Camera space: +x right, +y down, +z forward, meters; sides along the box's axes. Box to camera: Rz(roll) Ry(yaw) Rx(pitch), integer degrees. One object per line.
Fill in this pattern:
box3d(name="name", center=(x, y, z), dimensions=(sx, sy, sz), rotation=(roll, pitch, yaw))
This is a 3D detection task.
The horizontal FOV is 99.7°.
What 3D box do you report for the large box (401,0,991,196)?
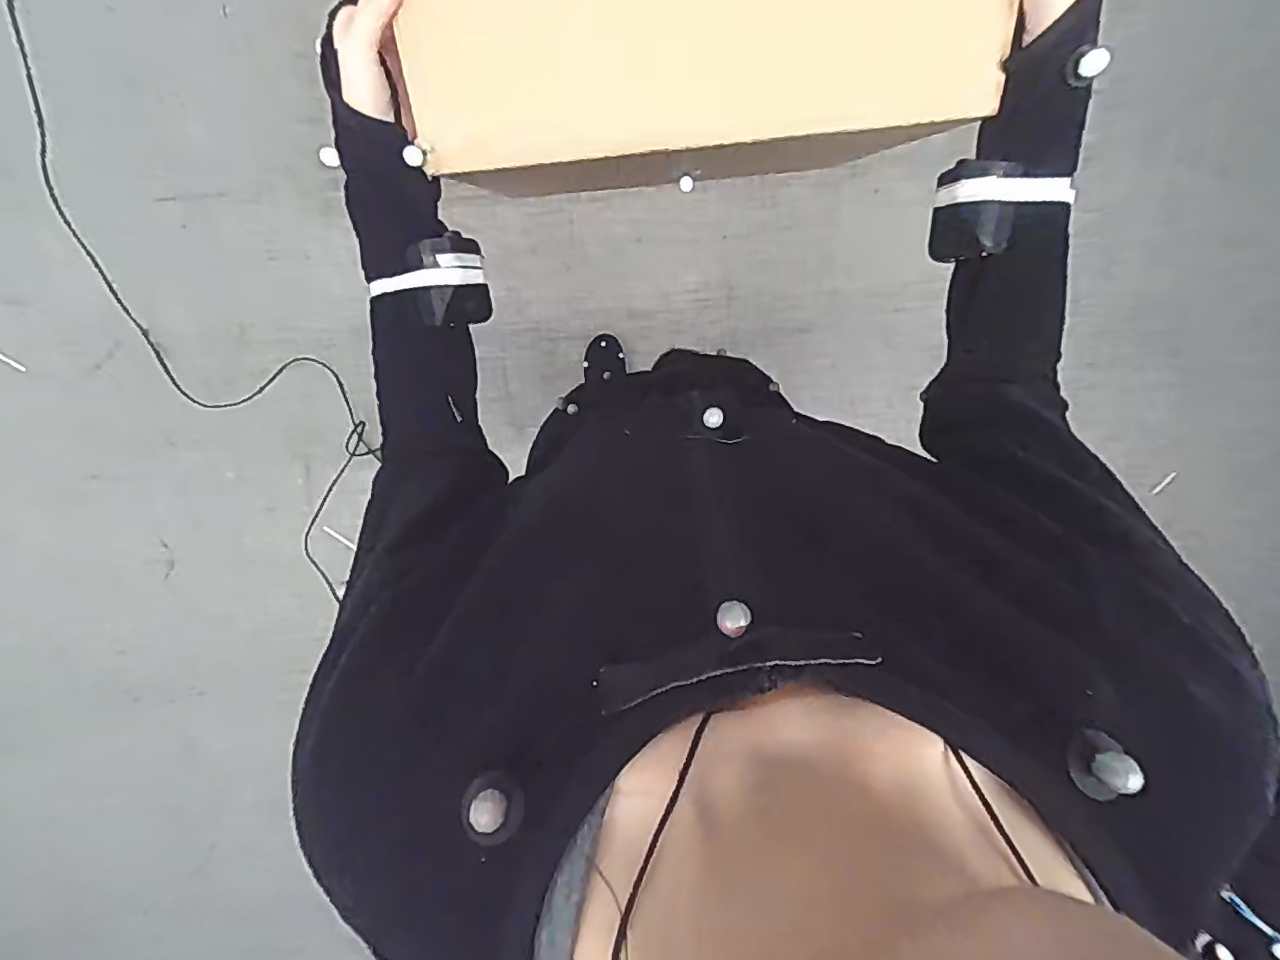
box3d(name="large box", center=(0.031, -0.447, 0.469), dimensions=(0.408, 0.320, 0.320), rotation=(-6, 113, 1))
